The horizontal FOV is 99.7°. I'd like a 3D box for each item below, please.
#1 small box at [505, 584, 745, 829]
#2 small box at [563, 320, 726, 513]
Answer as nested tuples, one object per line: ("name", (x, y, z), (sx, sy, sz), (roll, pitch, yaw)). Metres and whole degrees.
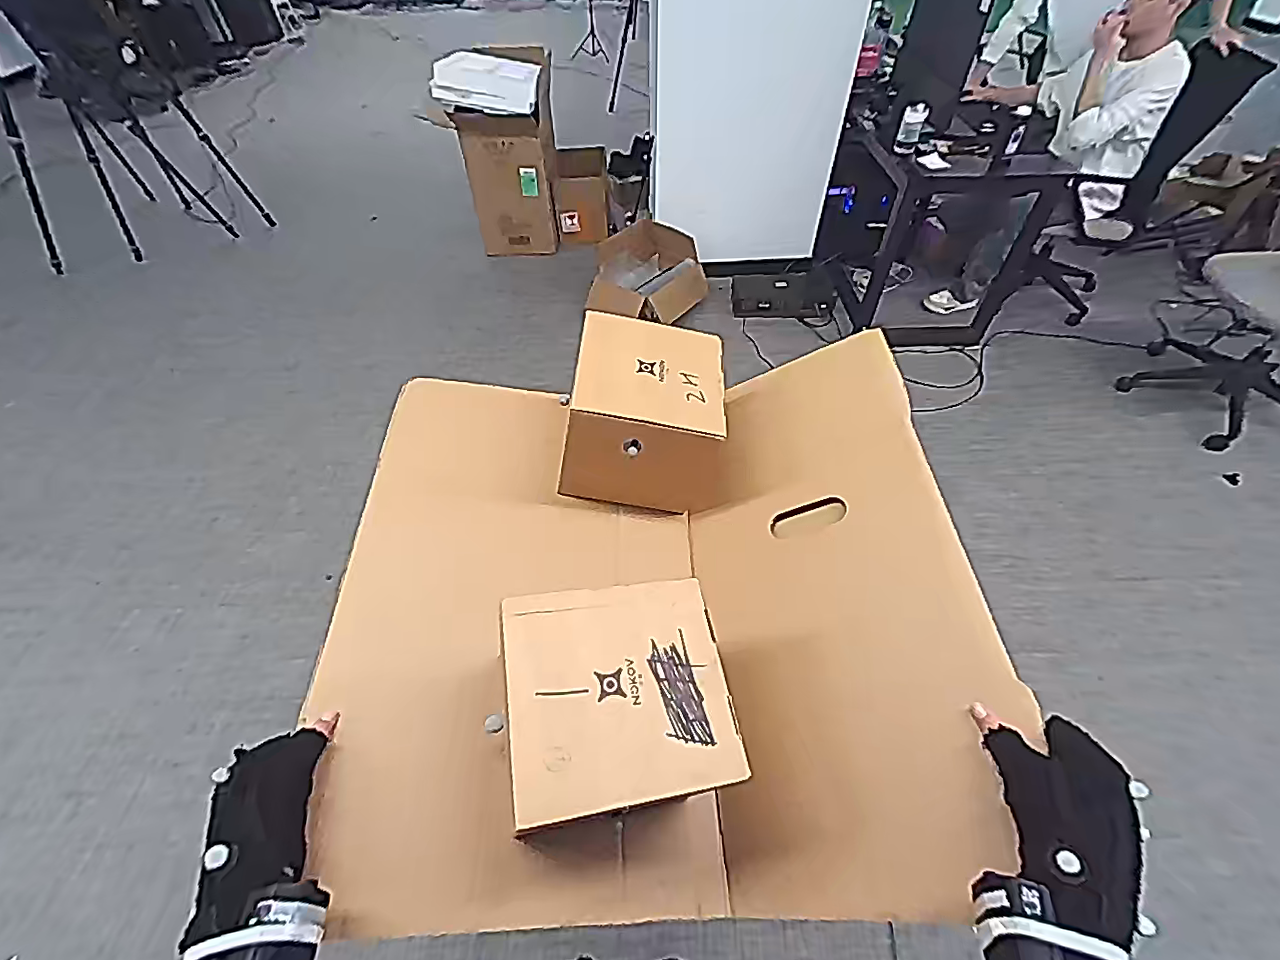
("small box", (-0.031, 0.209, 0.498), (0.179, 0.176, 0.168), (-3, 57, -15))
("small box", (0.001, -0.075, 0.701), (0.179, 0.176, 0.168), (11, 55, -8))
